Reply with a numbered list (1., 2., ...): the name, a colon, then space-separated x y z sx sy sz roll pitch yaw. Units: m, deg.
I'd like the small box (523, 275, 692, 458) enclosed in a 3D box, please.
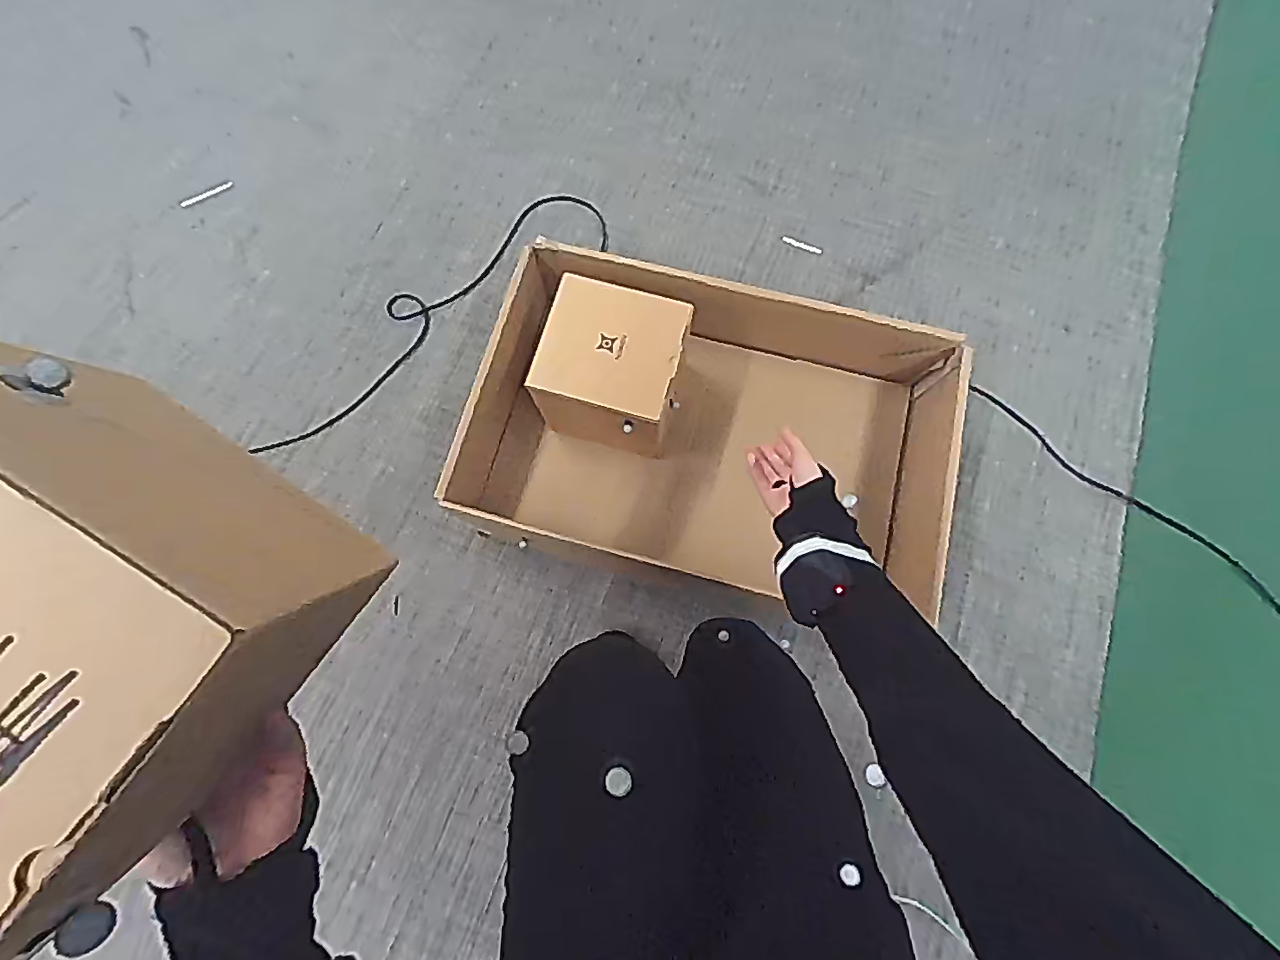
1. small box: -0.046 -0.145 0.755 0.179 0.176 0.168 18 75 -2
